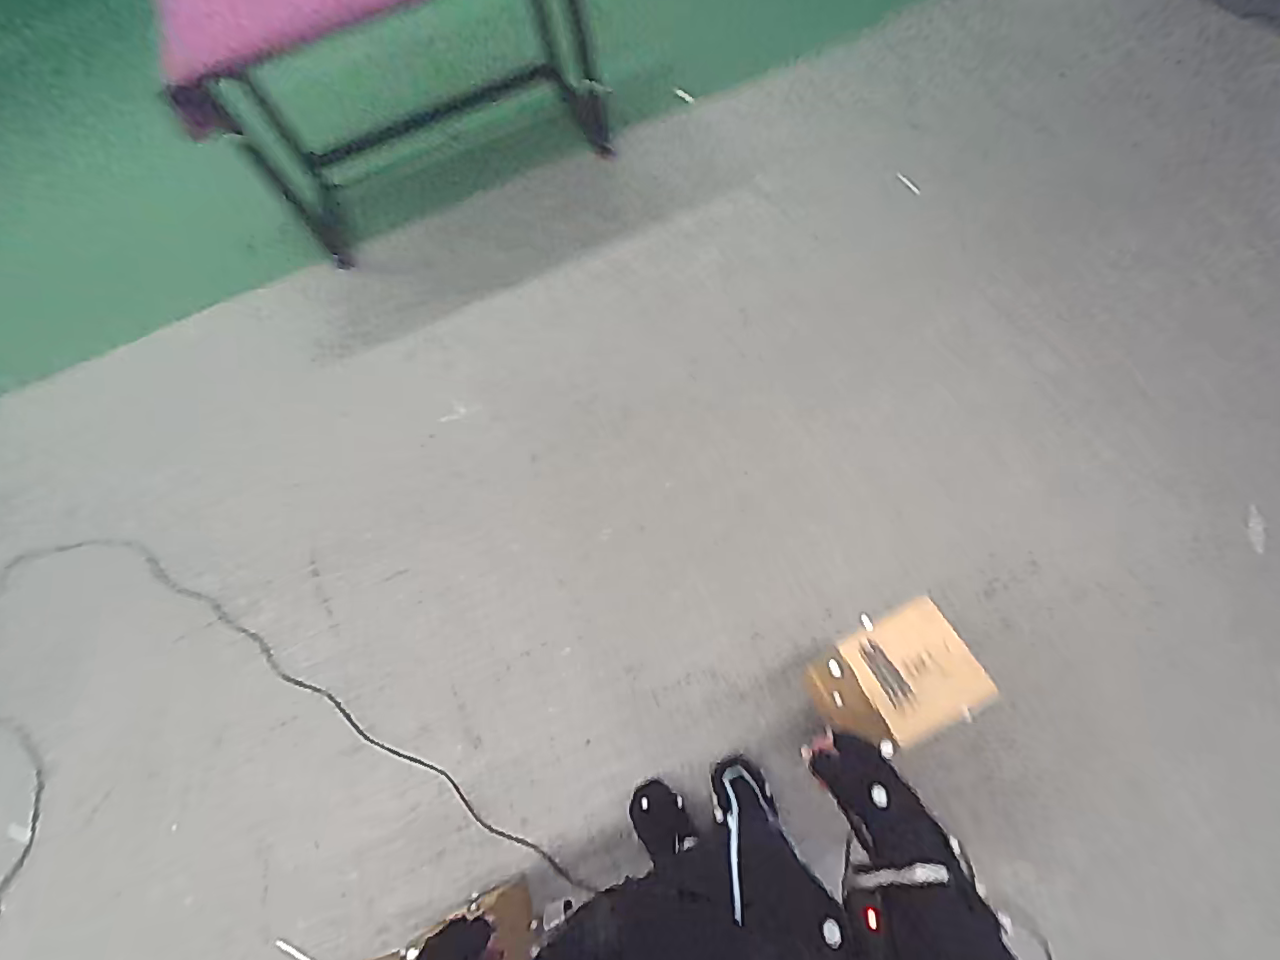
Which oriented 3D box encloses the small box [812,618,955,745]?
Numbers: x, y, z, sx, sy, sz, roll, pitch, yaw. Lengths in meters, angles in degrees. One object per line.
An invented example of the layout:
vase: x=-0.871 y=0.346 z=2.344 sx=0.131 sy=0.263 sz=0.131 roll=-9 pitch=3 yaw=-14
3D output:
small box: x=0.455 y=0.393 z=1.047 sx=0.168 sy=0.176 sz=0.179 roll=-24 pitch=65 yaw=-3

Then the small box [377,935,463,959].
small box: x=-0.363 y=0.821 z=0.792 sx=0.168 sy=0.176 sz=0.179 roll=-19 pitch=64 yaw=0

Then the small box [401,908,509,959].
small box: x=-0.332 y=0.885 z=0.938 sx=0.168 sy=0.176 sz=0.179 roll=-23 pitch=65 yaw=-2

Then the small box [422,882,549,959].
small box: x=-0.306 y=0.948 z=1.091 sx=0.168 sy=0.176 sz=0.179 roll=-28 pitch=63 yaw=-1

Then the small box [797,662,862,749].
small box: x=0.468 y=0.468 z=1.192 sx=0.168 sy=0.176 sz=0.179 roll=-24 pitch=64 yaw=-3
